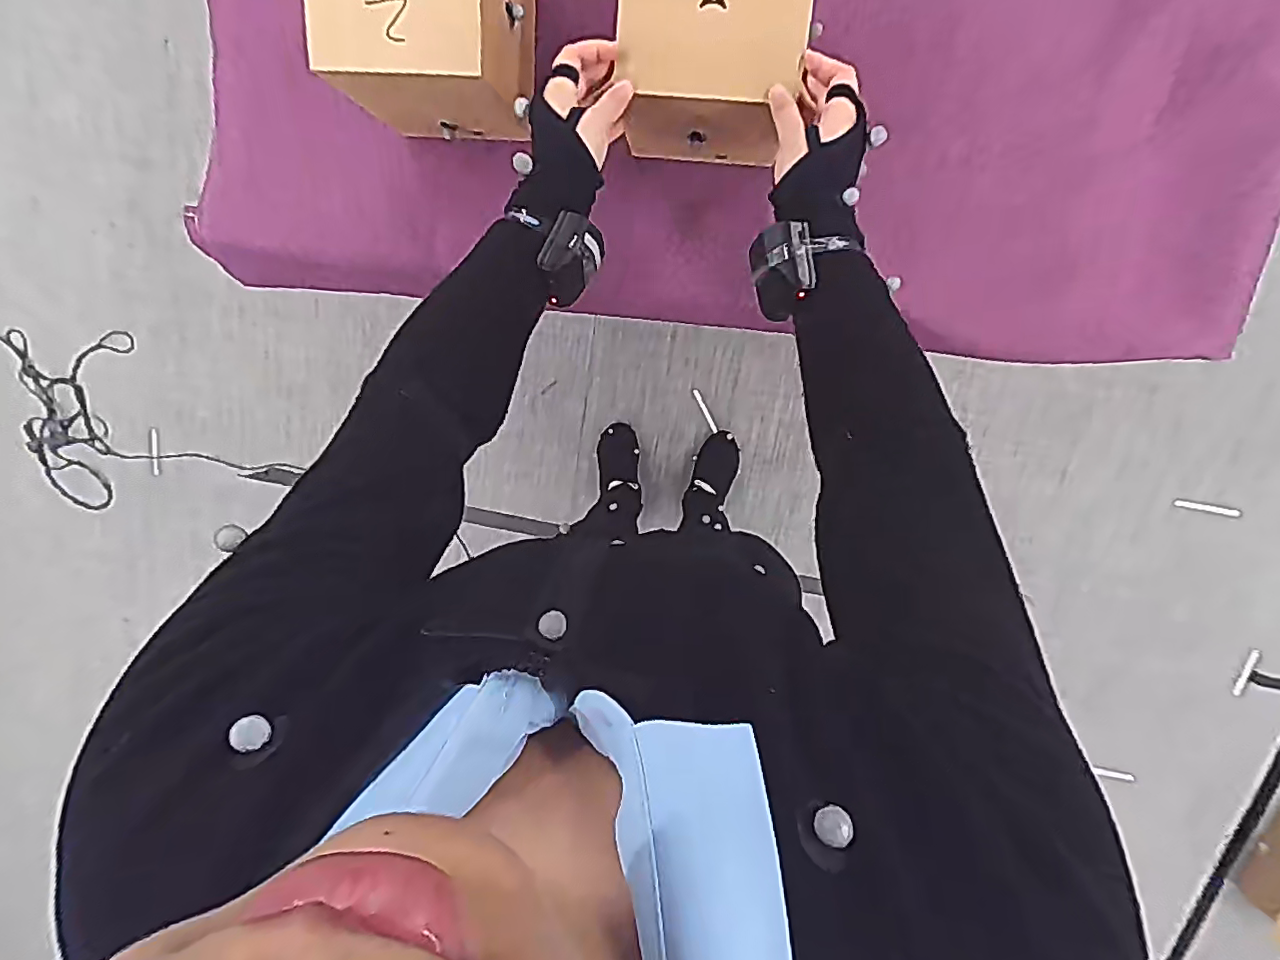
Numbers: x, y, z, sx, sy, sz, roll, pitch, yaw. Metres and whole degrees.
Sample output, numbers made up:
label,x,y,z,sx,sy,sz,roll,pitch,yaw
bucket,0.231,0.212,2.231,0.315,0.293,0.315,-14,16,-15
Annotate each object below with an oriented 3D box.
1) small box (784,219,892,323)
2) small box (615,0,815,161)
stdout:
label,x,y,z,sx,sy,sz,roll,pitch,yaw
small box,0.442,-0.469,1.244,0.168,0.176,0.179,18,104,1
small box,0.075,-0.438,0.532,0.168,0.176,0.179,7,104,3
